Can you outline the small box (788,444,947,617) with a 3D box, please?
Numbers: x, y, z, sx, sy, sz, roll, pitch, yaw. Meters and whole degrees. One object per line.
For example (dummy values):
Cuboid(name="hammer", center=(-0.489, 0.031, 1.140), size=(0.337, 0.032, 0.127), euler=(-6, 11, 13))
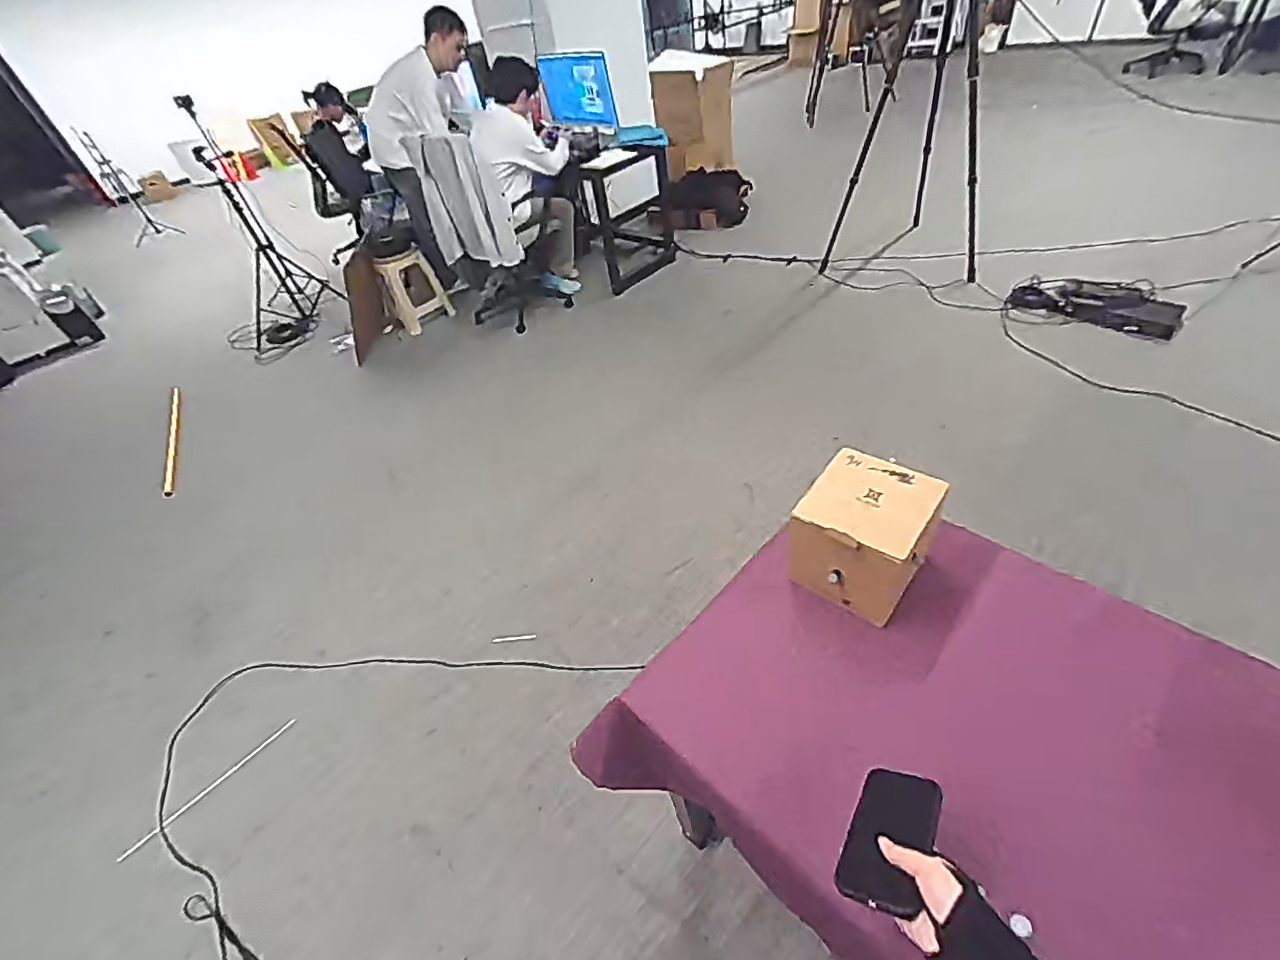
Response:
Cuboid(name="small box", center=(0.348, 0.080, 0.847), size=(0.168, 0.176, 0.179), euler=(26, 56, 32))
